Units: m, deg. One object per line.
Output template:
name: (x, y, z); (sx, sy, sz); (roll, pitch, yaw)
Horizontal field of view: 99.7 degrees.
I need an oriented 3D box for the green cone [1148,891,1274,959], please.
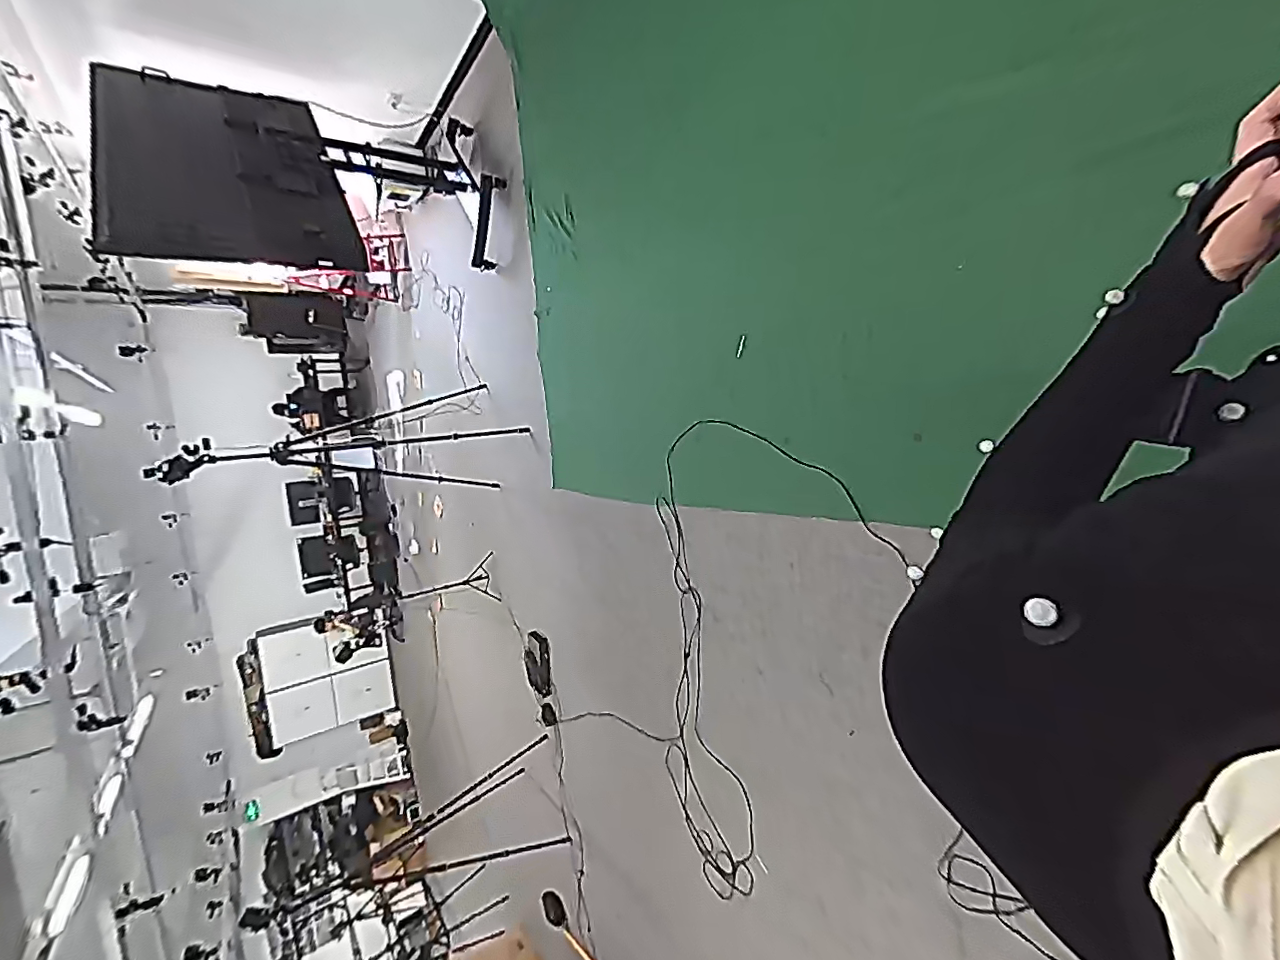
green cone: (1.184, 1.121, 1.160); (0.202, 0.368, 0.200); (5, 101, 54)
